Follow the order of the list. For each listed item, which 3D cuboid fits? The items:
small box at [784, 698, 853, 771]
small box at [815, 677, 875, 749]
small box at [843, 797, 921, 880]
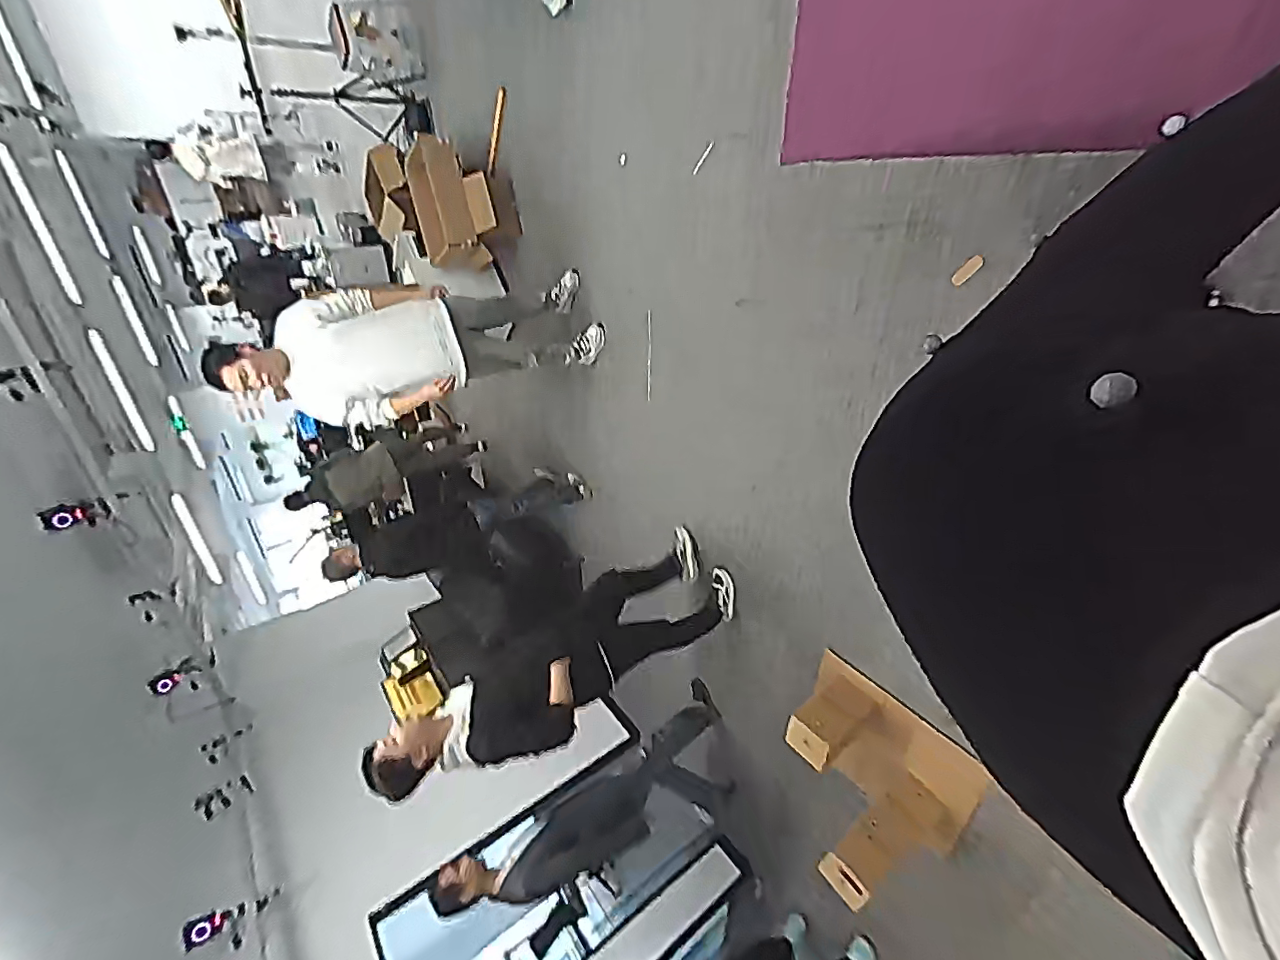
[{"bbox_3d":[0.703,0.990,2.129,0.179,0.176,0.168,33,132,42],"label":"small box"},{"bbox_3d":[0.830,0.949,2.219,0.179,0.176,0.168,35,134,42],"label":"small box"},{"bbox_3d":[0.899,1.322,2.011,0.179,0.176,0.168,41,139,37],"label":"small box"}]
